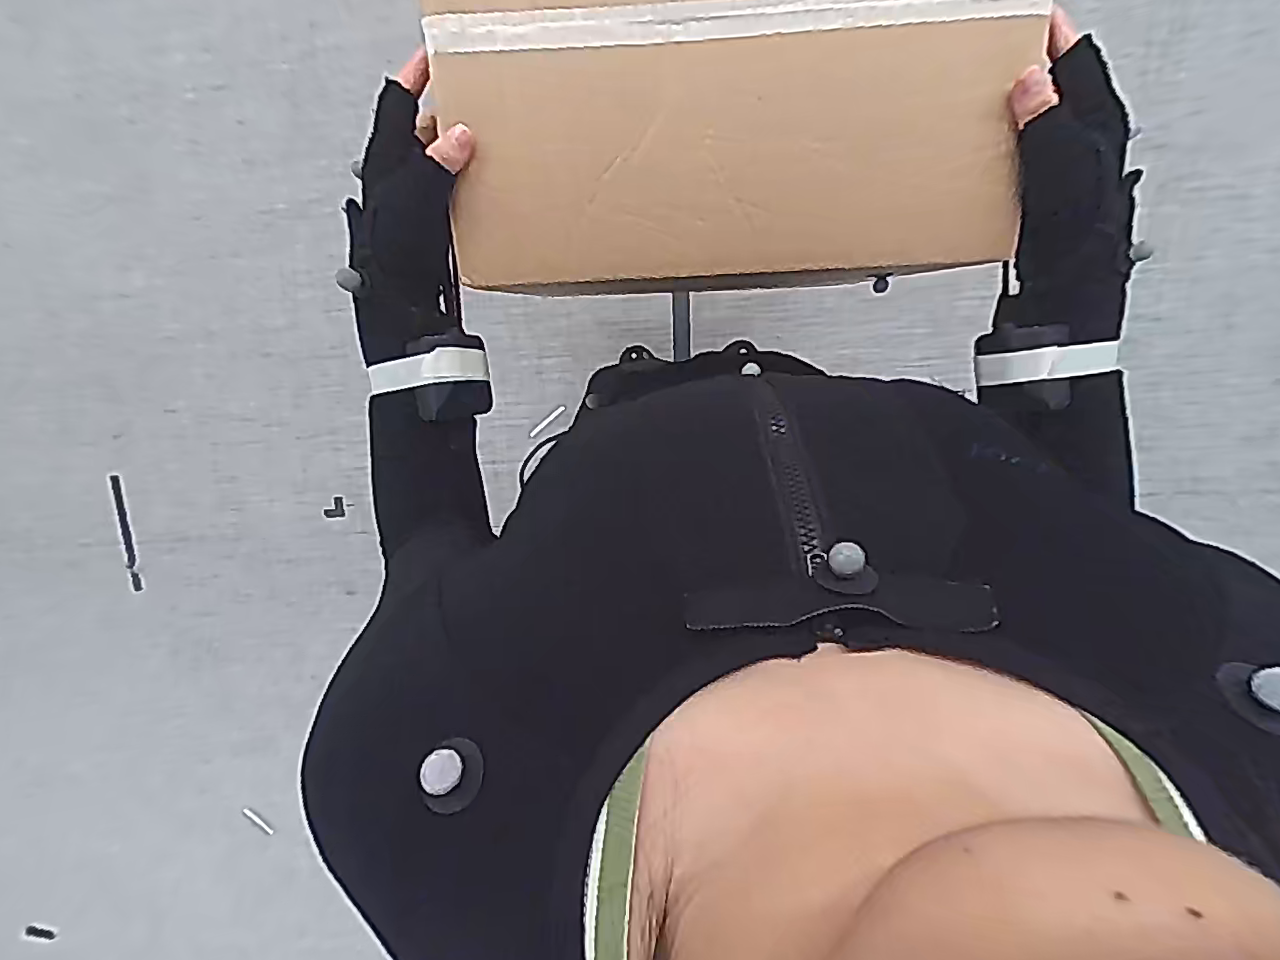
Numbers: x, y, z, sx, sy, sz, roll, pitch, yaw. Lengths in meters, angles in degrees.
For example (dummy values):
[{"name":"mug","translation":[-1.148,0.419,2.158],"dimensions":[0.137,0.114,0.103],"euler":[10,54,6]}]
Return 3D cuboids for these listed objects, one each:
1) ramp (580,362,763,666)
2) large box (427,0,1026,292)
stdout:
[{"name":"ramp","translation":[0.112,0.155,1.623],"dimensions":[0.509,0.206,0.991],"euler":[-4,103,2]},{"name":"large box","translation":[0.059,-0.349,0.502],"dimensions":[0.408,0.320,0.320],"euler":[-3,107,0]}]
